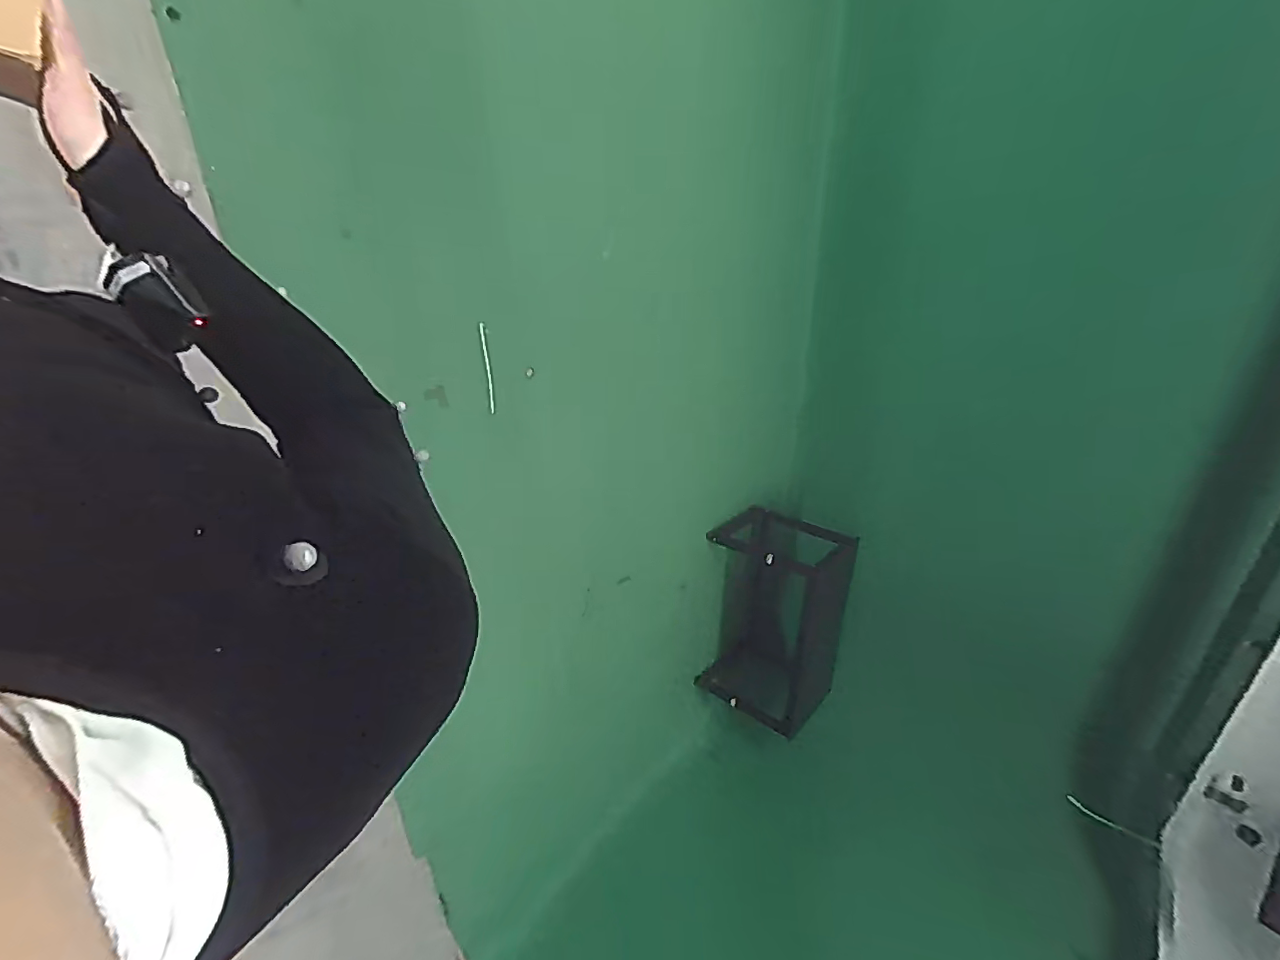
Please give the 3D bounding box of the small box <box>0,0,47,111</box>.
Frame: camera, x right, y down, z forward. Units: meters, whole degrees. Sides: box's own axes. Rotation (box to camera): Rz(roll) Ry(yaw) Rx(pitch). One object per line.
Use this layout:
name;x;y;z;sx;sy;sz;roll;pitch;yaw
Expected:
small box;-0.511;-0.383;0.352;0.168;0.176;0.179;0;106;-49
